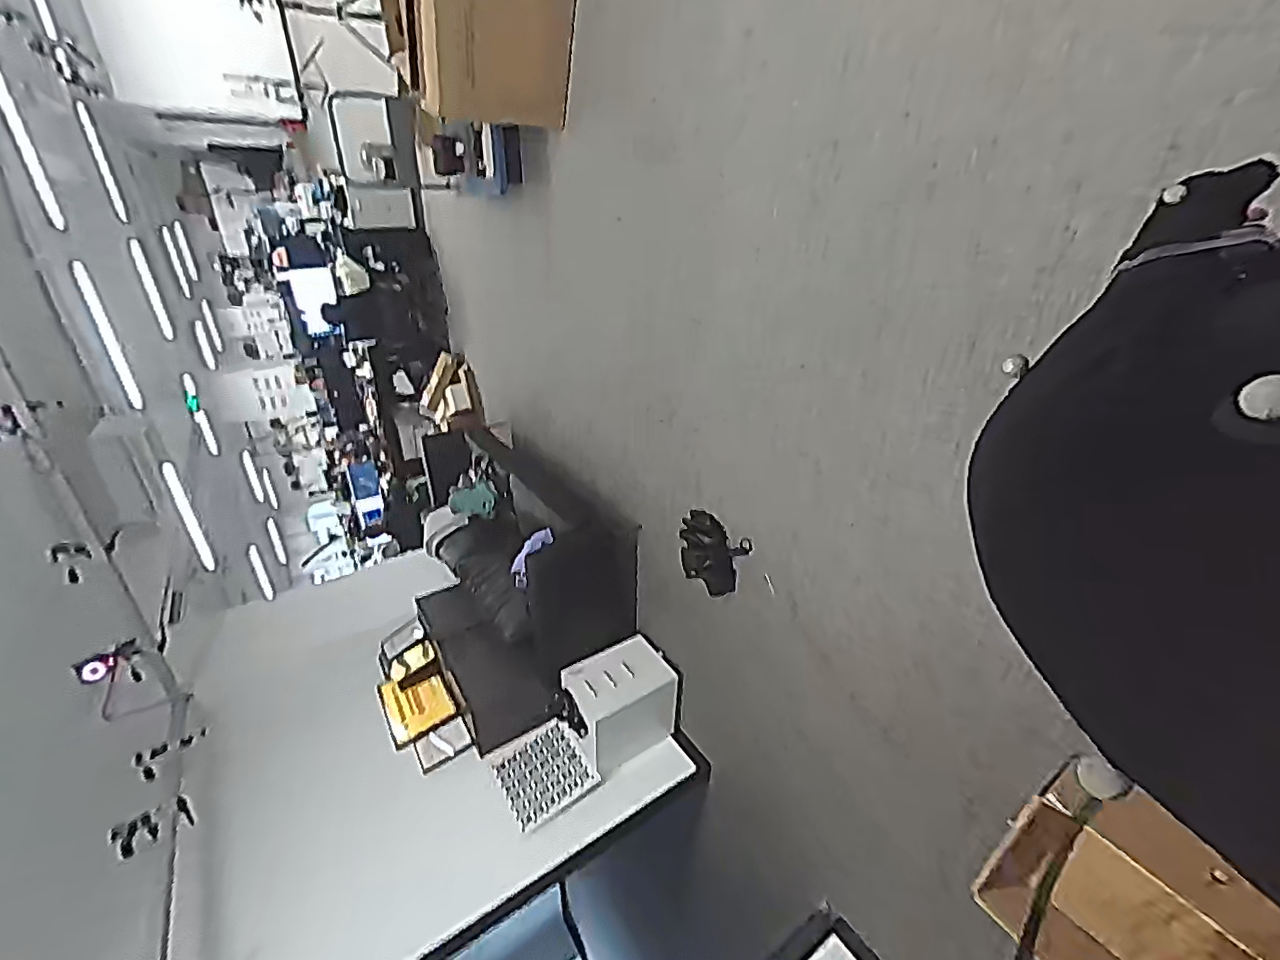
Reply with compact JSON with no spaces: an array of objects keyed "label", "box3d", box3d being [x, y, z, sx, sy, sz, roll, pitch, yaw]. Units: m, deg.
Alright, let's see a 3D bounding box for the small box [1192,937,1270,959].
[{"label":"small box","box3d":[0.977,0.889,0.862,0.168,0.176,0.179,43,141,46]}]
